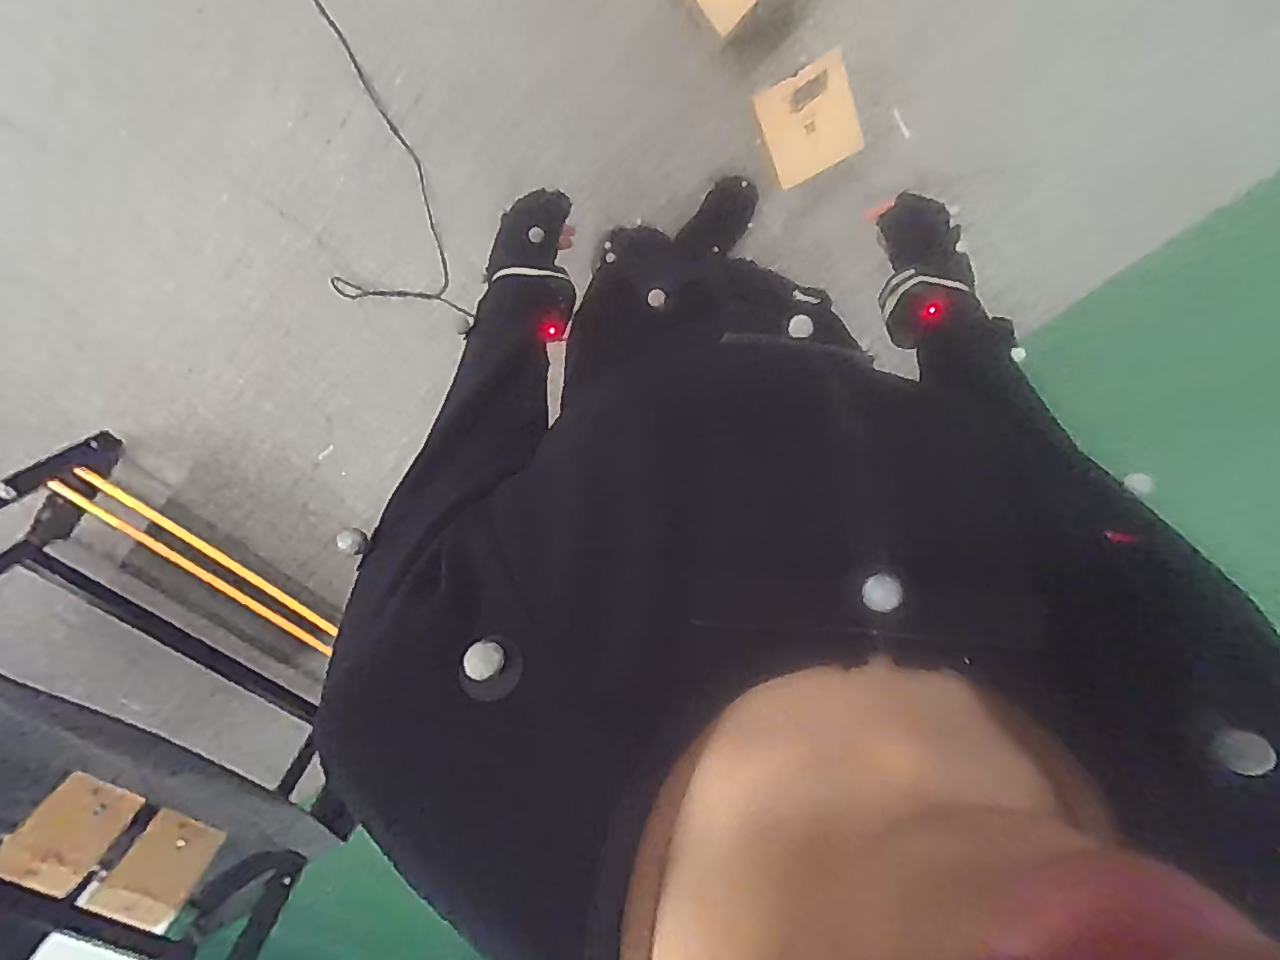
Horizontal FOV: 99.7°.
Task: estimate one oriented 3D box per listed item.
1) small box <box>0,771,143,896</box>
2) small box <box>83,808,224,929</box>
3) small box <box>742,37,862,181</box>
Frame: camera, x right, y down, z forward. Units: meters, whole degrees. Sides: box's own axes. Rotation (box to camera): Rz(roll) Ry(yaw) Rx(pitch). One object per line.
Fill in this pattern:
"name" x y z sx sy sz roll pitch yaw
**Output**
"small box" -1.306 0.807 1.239 0.179 0.176 0.168 -40 112 23
"small box" -1.161 0.934 1.304 0.168 0.176 0.179 41 115 -20
"small box" 0.315 -0.726 1.076 0.168 0.176 0.179 -23 119 16
